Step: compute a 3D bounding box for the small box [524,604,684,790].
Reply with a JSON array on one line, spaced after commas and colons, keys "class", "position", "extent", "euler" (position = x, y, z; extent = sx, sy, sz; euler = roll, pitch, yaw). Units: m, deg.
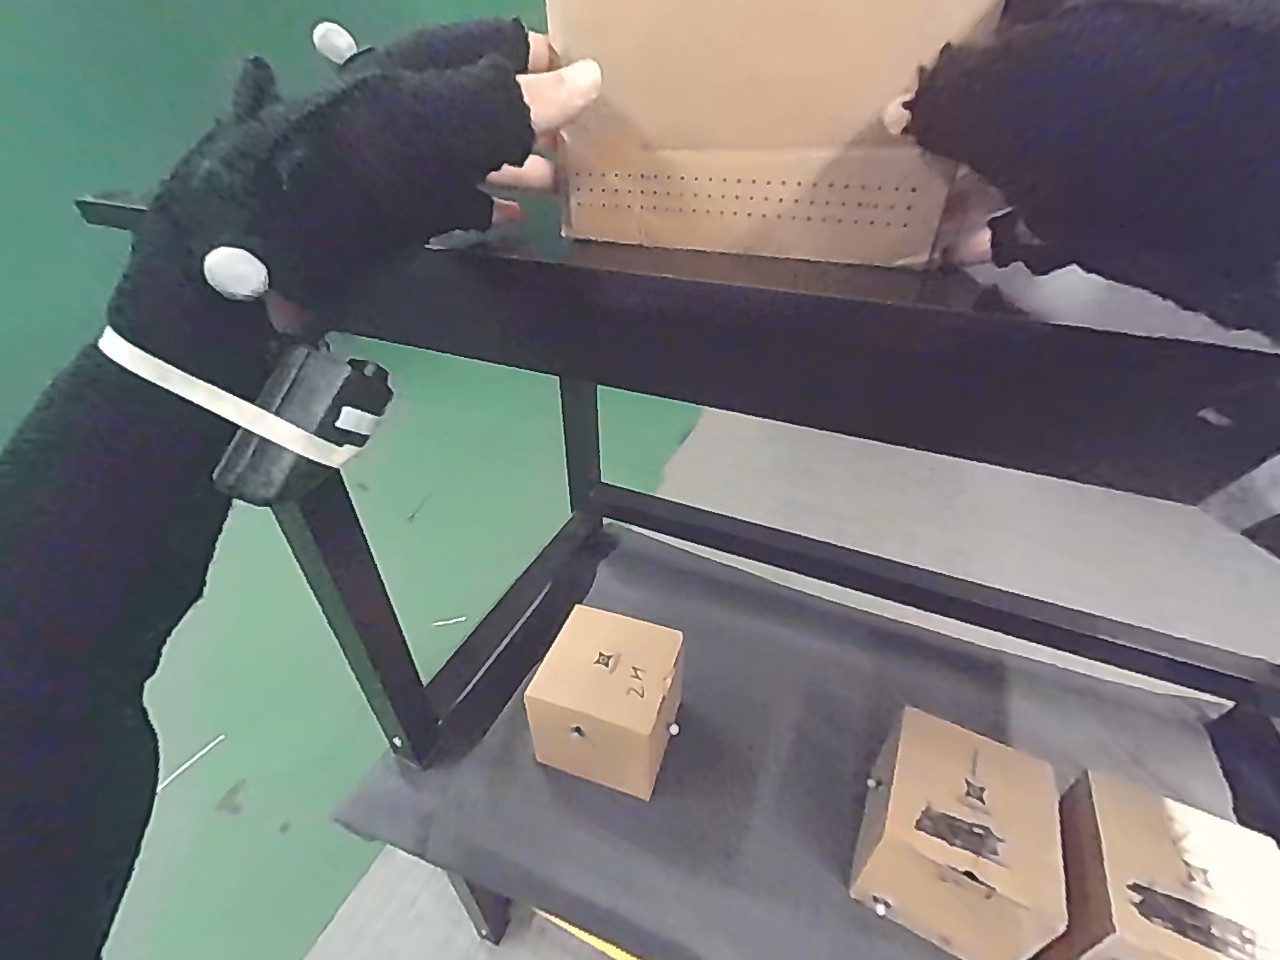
[{"class": "small box", "position": [-0.045, 0.315, 0.788], "extent": [0.179, 0.176, 0.168], "euler": [12, 37, 15]}]
